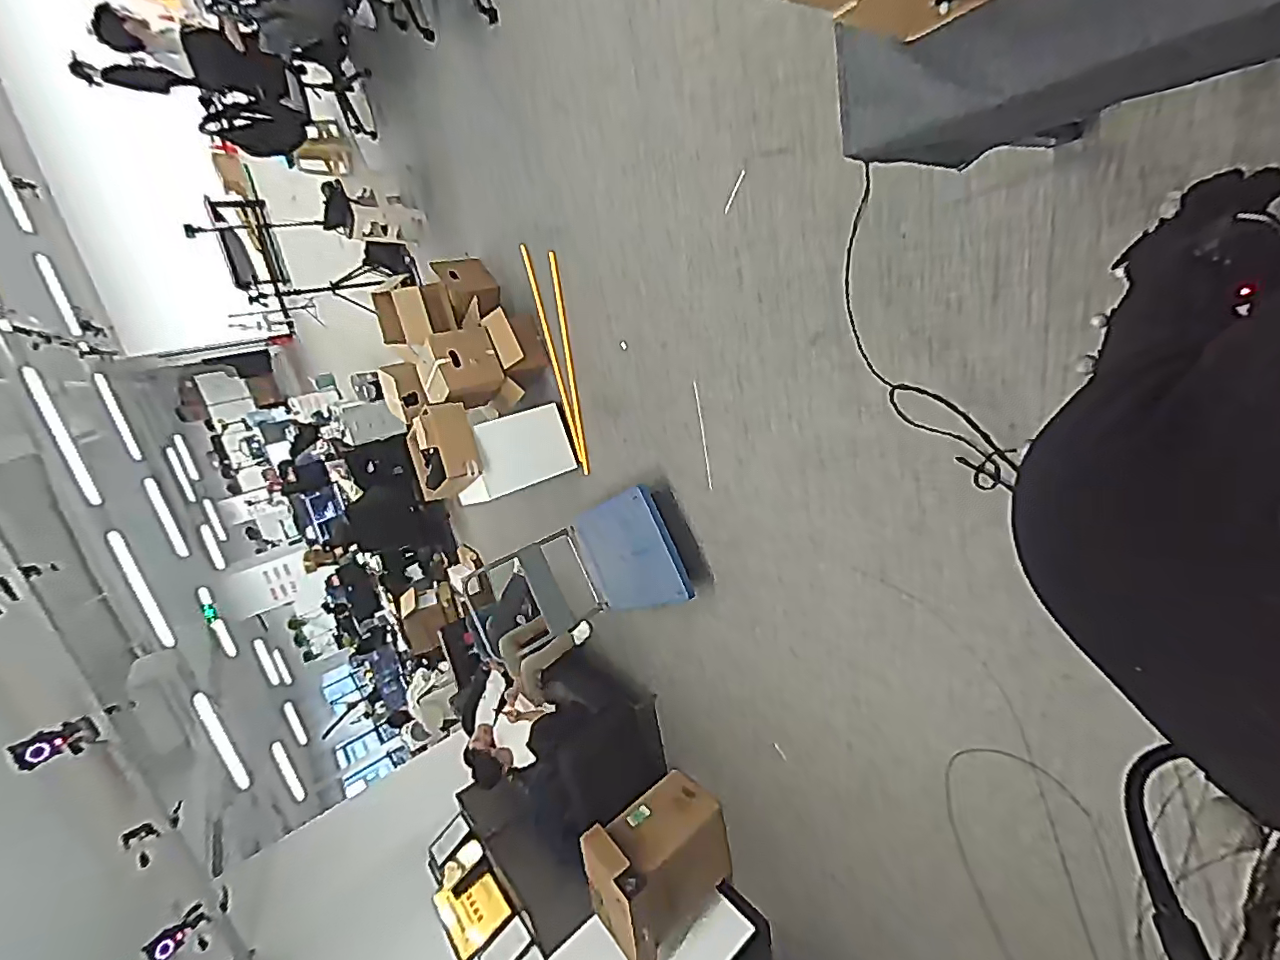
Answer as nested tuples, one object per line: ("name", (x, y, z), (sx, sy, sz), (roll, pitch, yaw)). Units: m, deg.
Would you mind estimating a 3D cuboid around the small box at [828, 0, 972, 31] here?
("small box", (0.295, -0.588, 0.528), (0.168, 0.176, 0.179), (9, 116, 51))
